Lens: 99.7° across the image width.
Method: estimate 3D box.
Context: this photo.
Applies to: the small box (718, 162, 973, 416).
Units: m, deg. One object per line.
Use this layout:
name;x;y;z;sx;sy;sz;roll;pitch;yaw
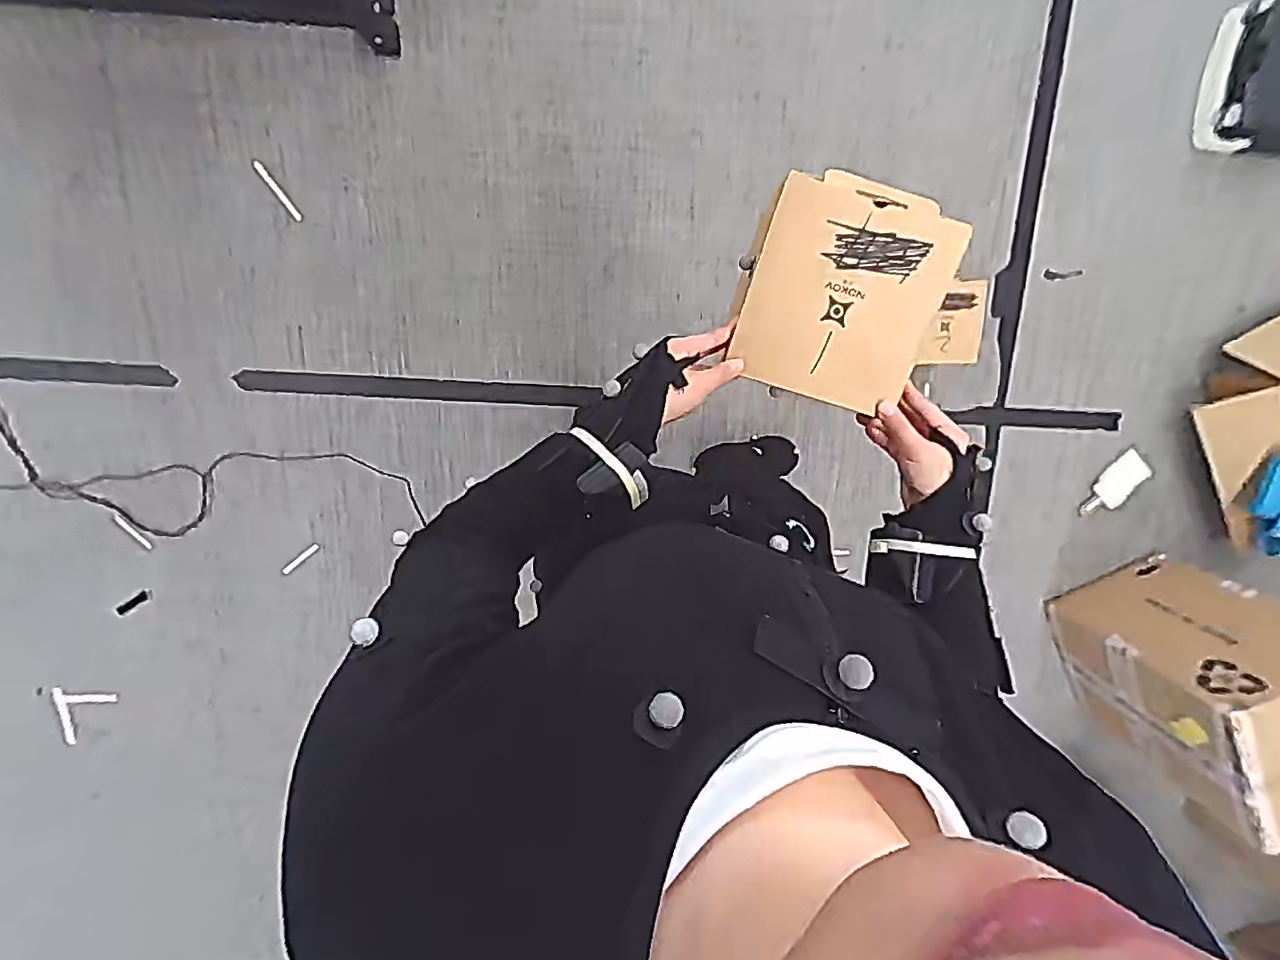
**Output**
small box;0.181;-0.182;0.545;0.168;0.176;0.179;17;107;0
